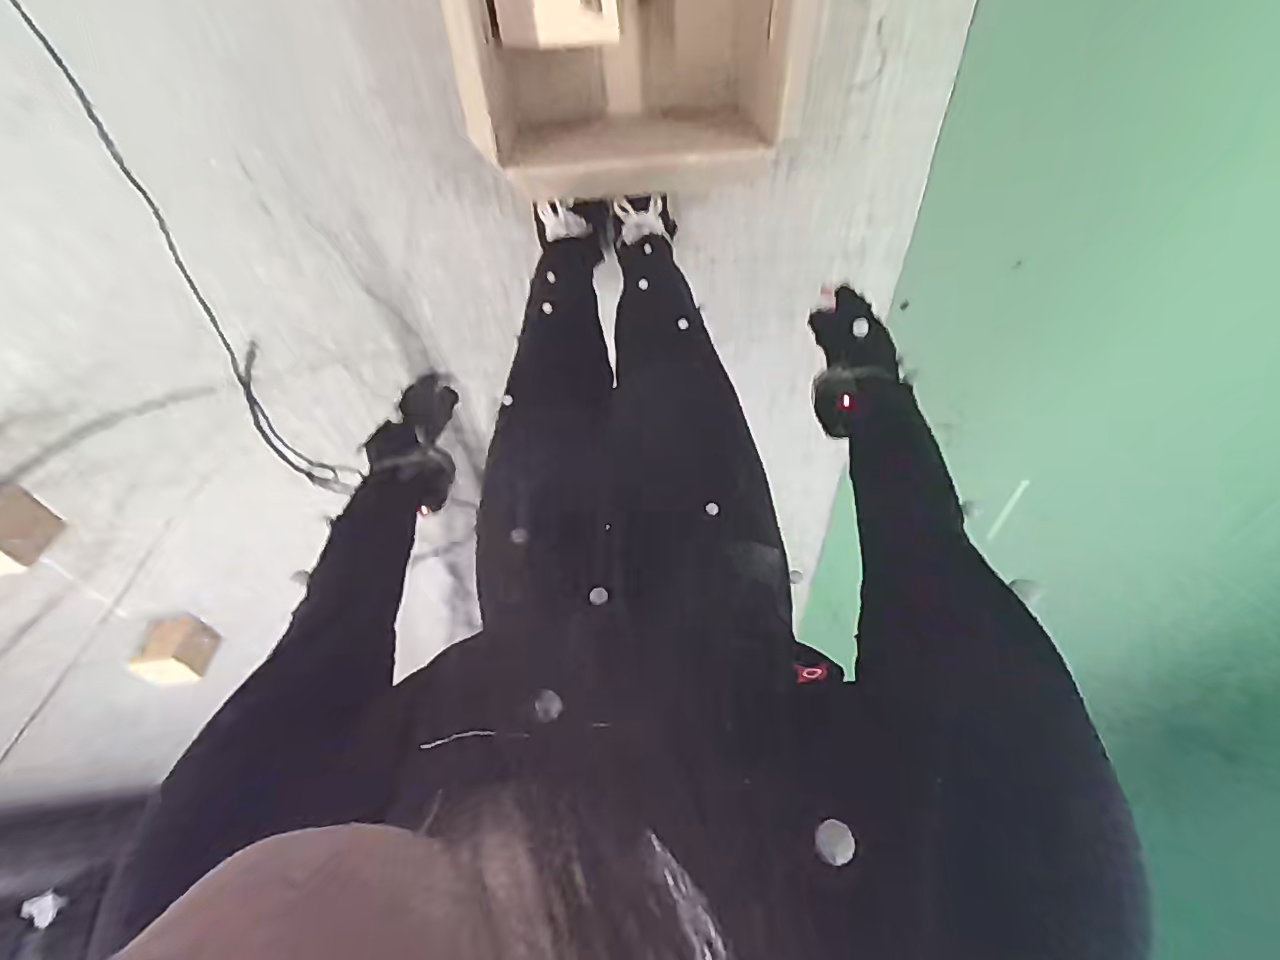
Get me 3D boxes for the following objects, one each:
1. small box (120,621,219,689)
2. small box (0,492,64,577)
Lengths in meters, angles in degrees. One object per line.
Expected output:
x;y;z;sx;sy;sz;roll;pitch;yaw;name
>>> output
-1.683;0.627;1.948;0.179;0.176;0.168;-7;135;0;small box
-1.758;0.146;1.465;0.168;0.176;0.179;-7;135;-1;small box
